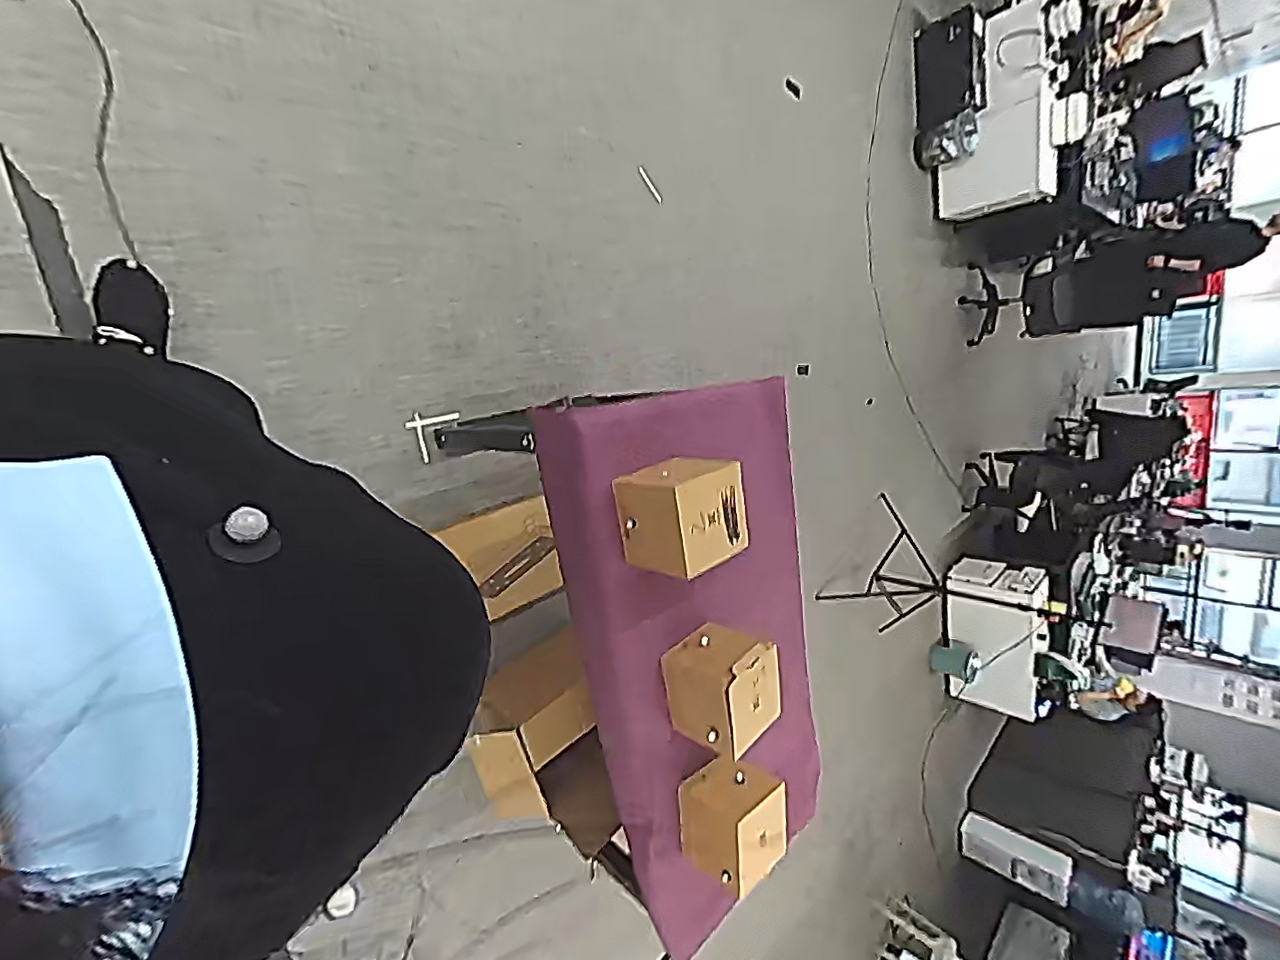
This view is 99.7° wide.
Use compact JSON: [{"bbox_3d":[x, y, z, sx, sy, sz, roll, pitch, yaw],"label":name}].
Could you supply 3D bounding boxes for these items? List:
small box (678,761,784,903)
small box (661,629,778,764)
[{"bbox_3d":[0.196,0.748,1.181,0.168,0.176,0.179,-11,102,-41],"label":"small box"},{"bbox_3d":[0.164,0.437,1.123,0.168,0.176,0.179,-22,108,-42],"label":"small box"}]
